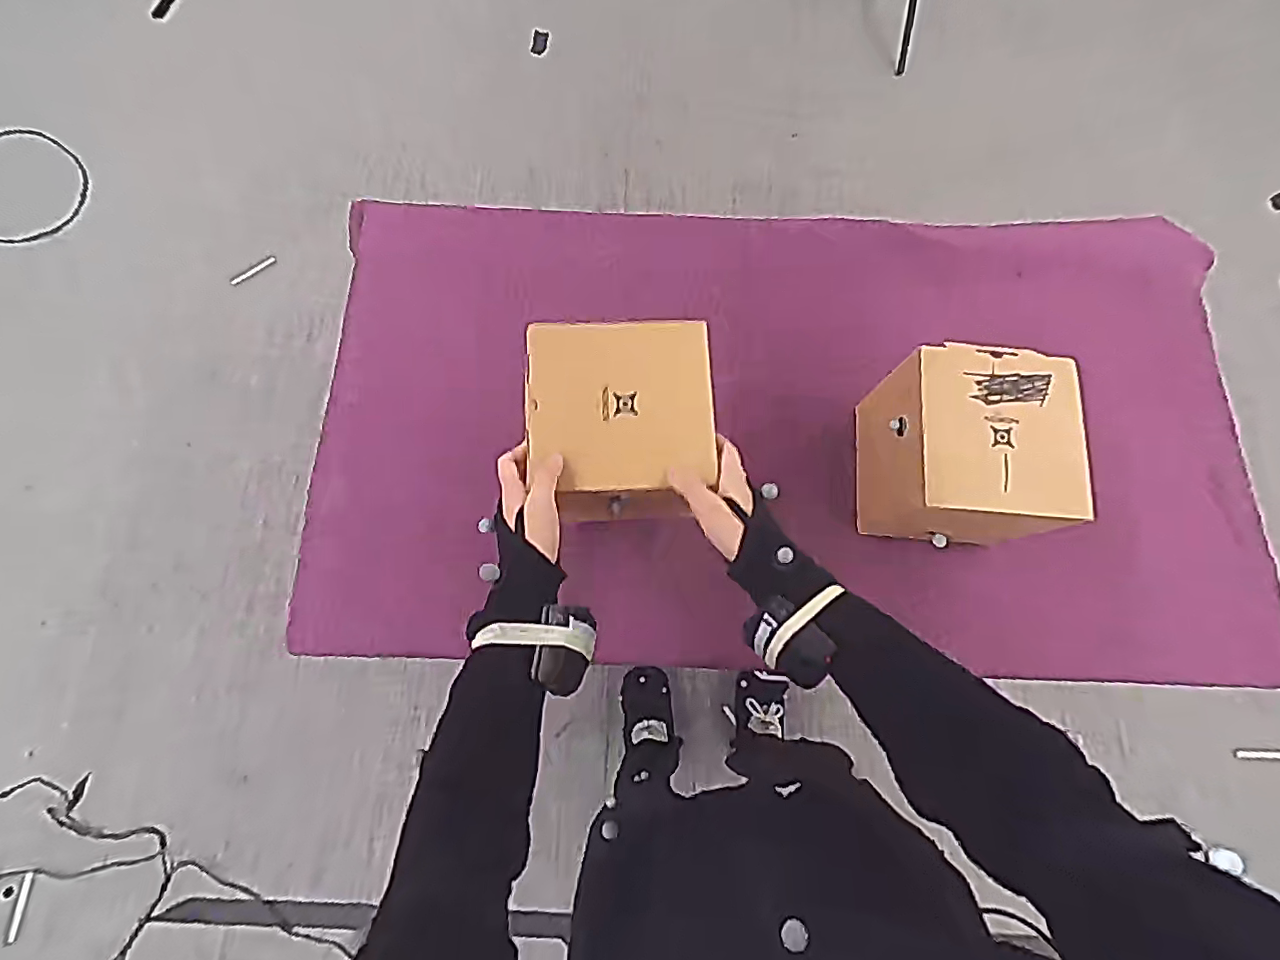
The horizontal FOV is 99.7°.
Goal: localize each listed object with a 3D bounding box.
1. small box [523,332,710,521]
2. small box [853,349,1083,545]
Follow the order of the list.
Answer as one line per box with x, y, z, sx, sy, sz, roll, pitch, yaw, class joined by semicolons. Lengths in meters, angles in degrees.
-0.026;-0.048;0.593;0.179;0.176;0.168;-2;77;-2;small box
0.360;-0.028;0.628;0.168;0.176;0.179;5;76;1;small box
